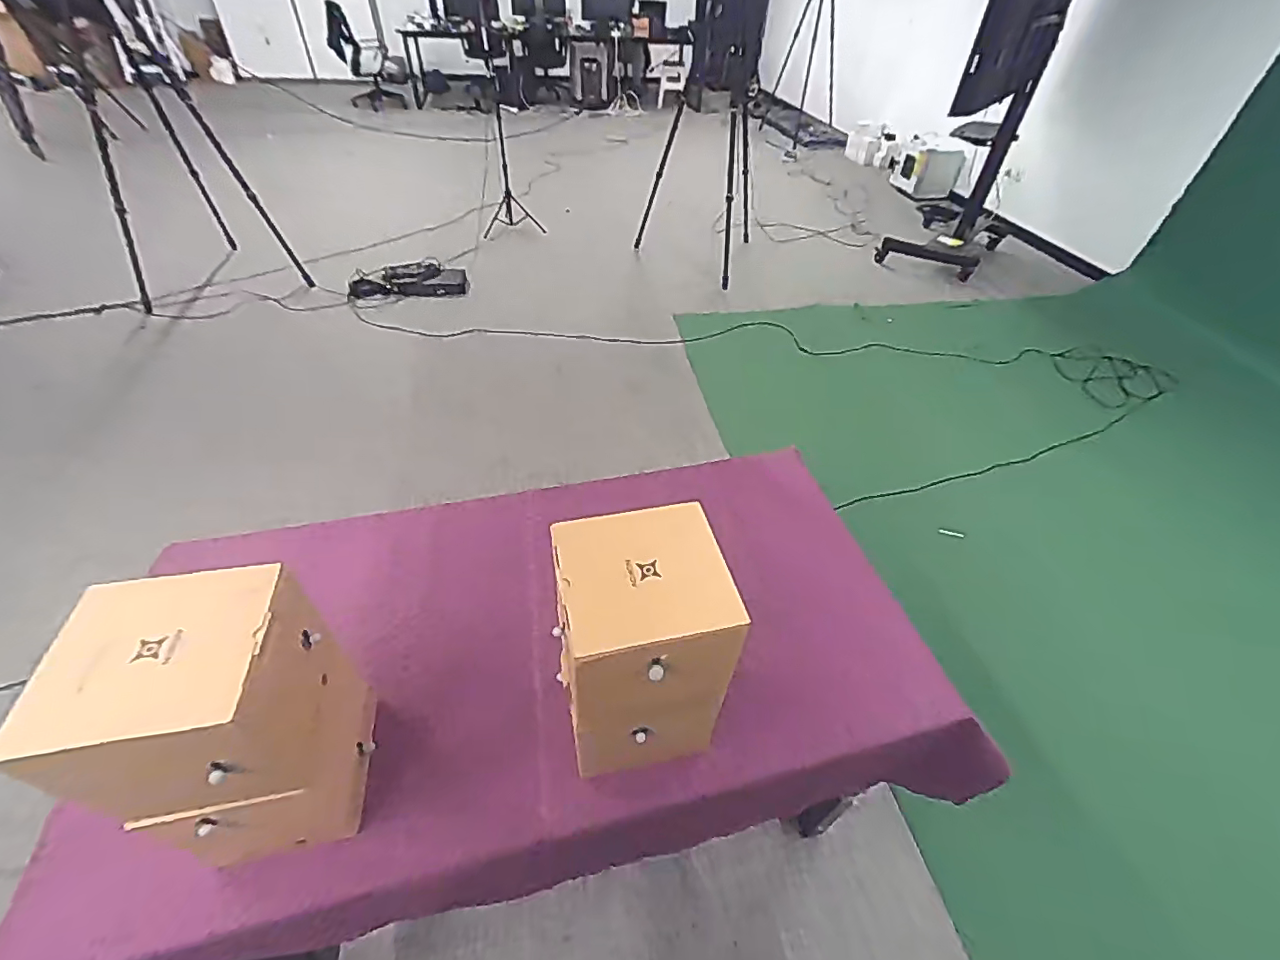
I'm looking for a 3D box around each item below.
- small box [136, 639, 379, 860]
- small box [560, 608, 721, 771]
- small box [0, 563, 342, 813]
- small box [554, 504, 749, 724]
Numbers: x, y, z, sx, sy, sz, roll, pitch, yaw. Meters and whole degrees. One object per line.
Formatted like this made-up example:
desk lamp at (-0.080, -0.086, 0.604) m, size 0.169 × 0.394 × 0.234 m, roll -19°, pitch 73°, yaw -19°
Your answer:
small box at (-0.432, 0.323, 0.653) m, size 0.168 × 0.176 × 0.179 m, roll -7°, pitch 45°, yaw -9°
small box at (-0.006, 0.268, 0.729) m, size 0.179 × 0.176 × 0.168 m, roll -8°, pitch 46°, yaw -10°
small box at (-0.426, 0.206, 0.538) m, size 0.179 × 0.176 × 0.168 m, roll -6°, pitch 45°, yaw -9°
small box at (0.002, 0.152, 0.615) m, size 0.179 × 0.176 × 0.168 m, roll -9°, pitch 46°, yaw -10°
